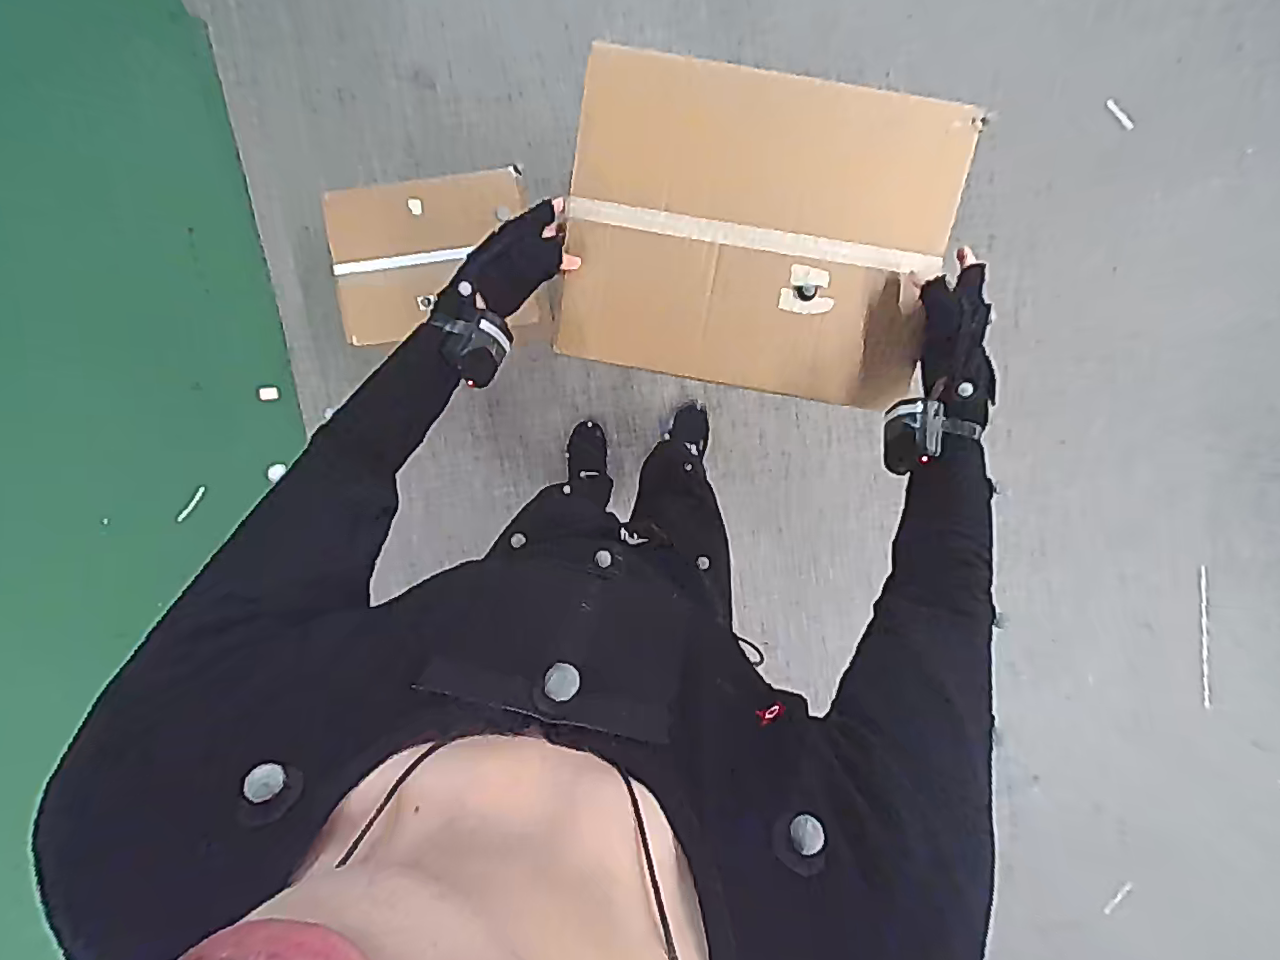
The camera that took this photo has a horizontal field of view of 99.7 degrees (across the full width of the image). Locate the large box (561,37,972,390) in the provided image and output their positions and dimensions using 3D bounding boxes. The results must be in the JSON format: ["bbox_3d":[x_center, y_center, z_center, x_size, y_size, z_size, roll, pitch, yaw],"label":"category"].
[{"bbox_3d":[0.128,-0.310,0.731,0.408,0.320,0.320,9,103,-1],"label":"large box"}]
